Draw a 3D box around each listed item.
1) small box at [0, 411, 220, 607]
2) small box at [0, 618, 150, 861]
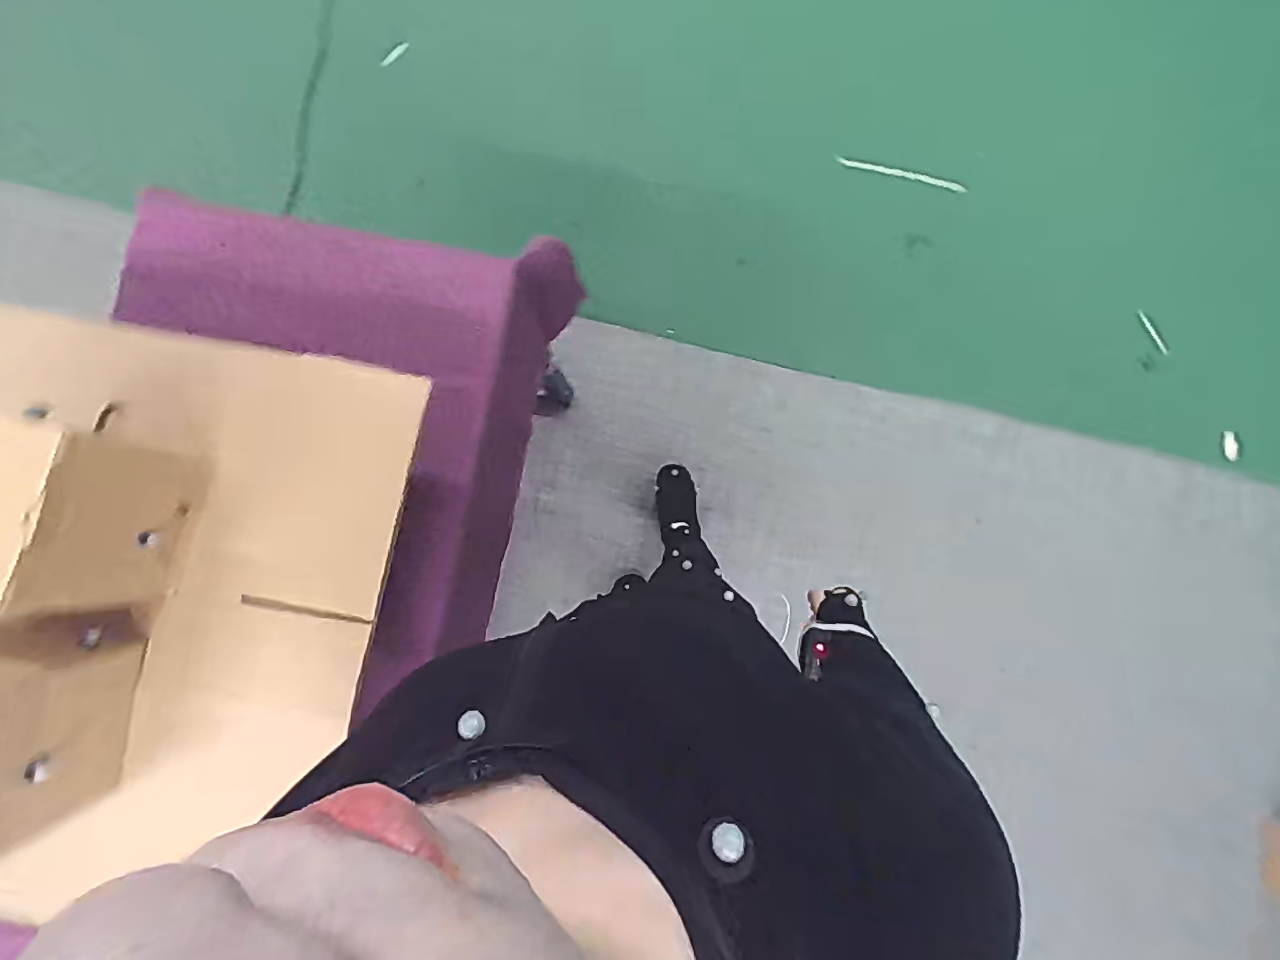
[{"bbox_3d":[-0.604,0.028,0.564,0.179,0.176,0.168,12,82,2],"label":"small box"},{"bbox_3d":[-0.650,0.252,0.540,0.168,0.176,0.179,11,91,2],"label":"small box"}]
